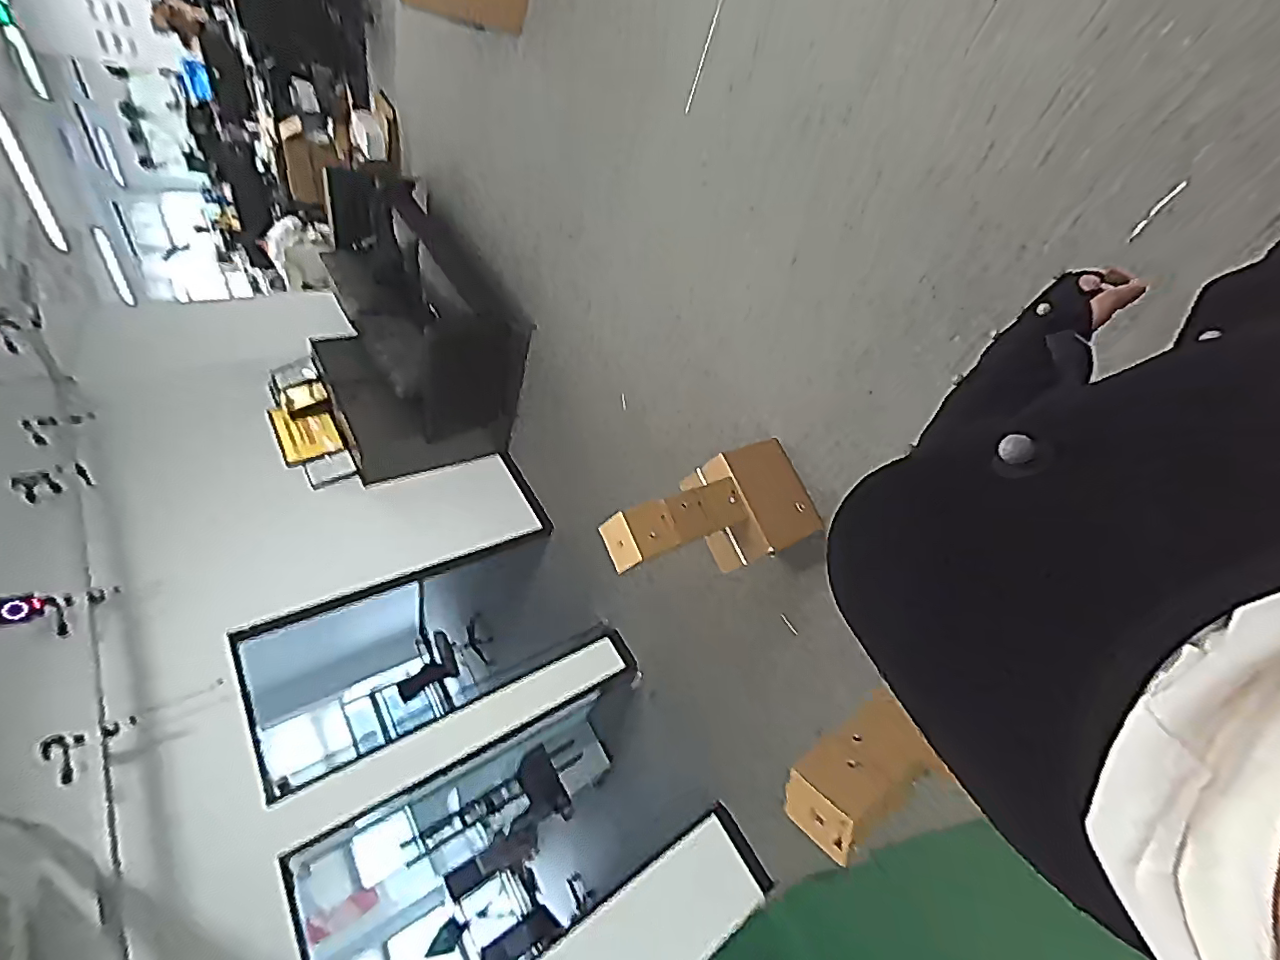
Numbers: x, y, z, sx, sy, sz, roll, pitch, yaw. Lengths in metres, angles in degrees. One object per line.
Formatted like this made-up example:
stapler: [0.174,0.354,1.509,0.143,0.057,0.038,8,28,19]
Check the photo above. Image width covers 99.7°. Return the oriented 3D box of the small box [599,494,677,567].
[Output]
small box: [-0.001,0.163,1.781,0.179,0.176,0.168,-41,71,53]

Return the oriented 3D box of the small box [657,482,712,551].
small box: [0.127,0.123,1.872,0.179,0.176,0.168,-40,71,54]

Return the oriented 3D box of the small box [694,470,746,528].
small box: [0.251,0.082,1.970,0.179,0.176,0.168,-36,75,53]

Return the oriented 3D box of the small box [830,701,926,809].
small box: [0.622,0.724,1.442,0.179,0.176,0.168,28,127,46]

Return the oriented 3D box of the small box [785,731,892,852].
small box: [0.492,0.762,1.350,0.179,0.176,0.168,30,128,46]
